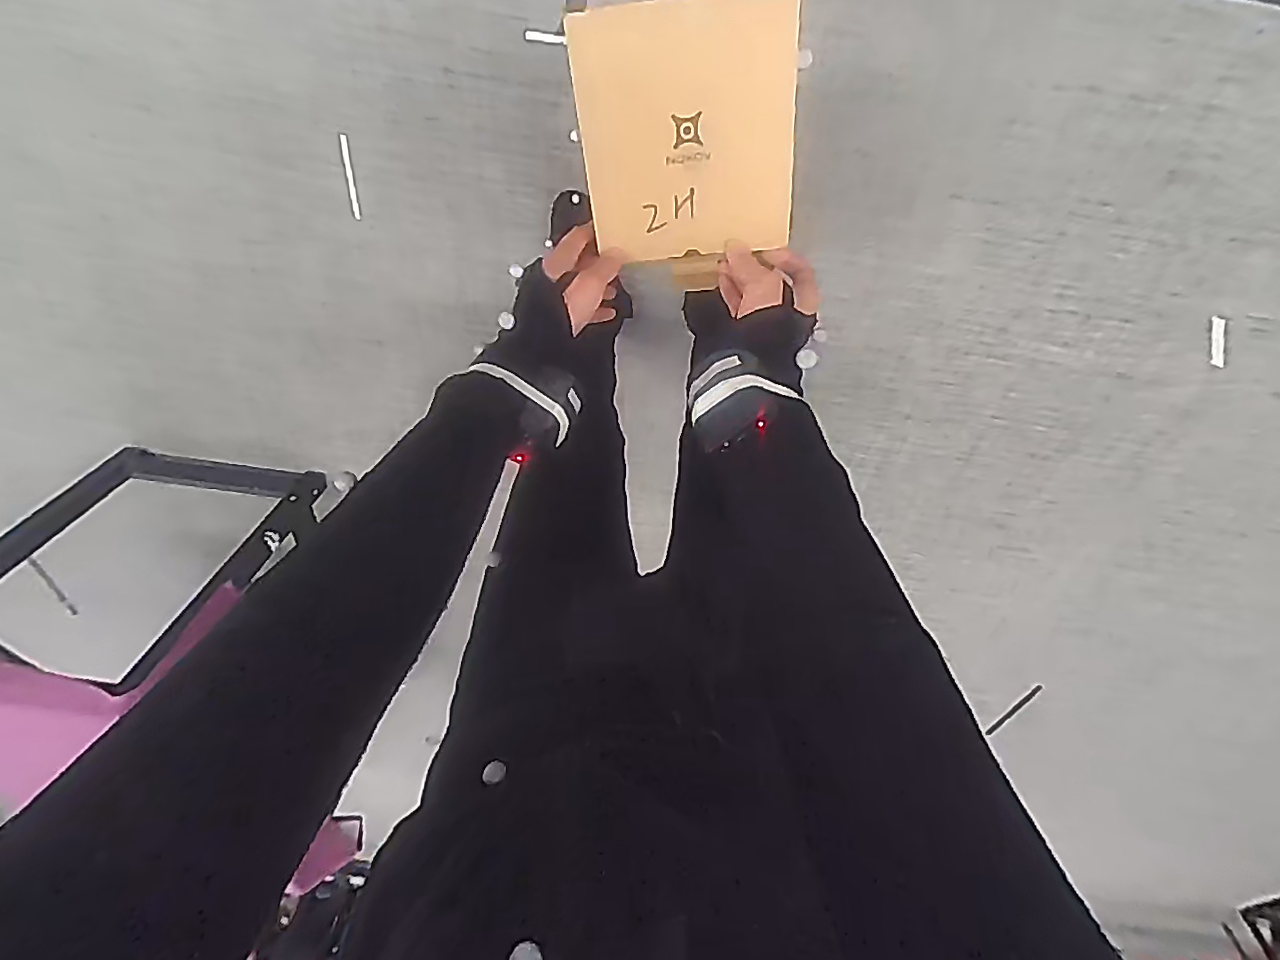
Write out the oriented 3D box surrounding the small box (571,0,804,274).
[{"bbox_3d":[0.044,-0.305,0.485,0.168,0.176,0.179,-2,129,8],"label":"small box"}]
